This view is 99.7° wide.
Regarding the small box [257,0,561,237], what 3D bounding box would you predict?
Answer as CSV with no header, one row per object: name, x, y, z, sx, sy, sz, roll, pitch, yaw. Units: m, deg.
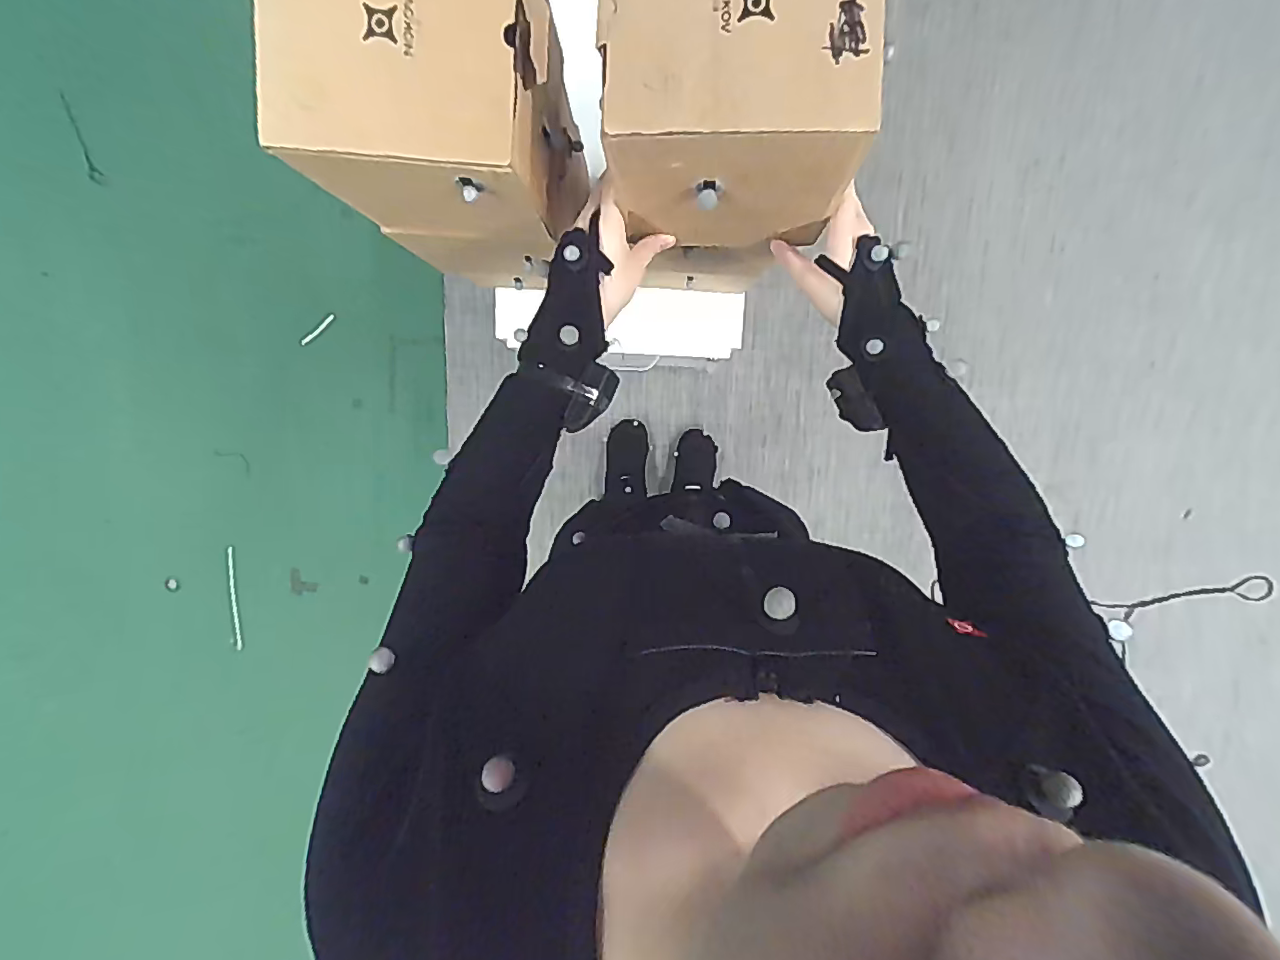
small box,-0.167,-0.310,0.436,0.179,0.176,0.168,4,98,-2

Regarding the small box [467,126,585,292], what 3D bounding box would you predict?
small box,-0.165,-0.369,0.757,0.168,0.176,0.179,3,99,-2

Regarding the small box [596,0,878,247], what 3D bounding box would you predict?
small box,0.069,-0.296,0.421,0.179,0.176,0.168,2,91,5

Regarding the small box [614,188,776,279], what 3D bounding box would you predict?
small box,0.070,-0.328,0.595,0.179,0.176,0.168,5,99,1

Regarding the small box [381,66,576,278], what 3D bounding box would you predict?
small box,-0.165,-0.328,0.599,0.179,0.176,0.168,2,98,0
